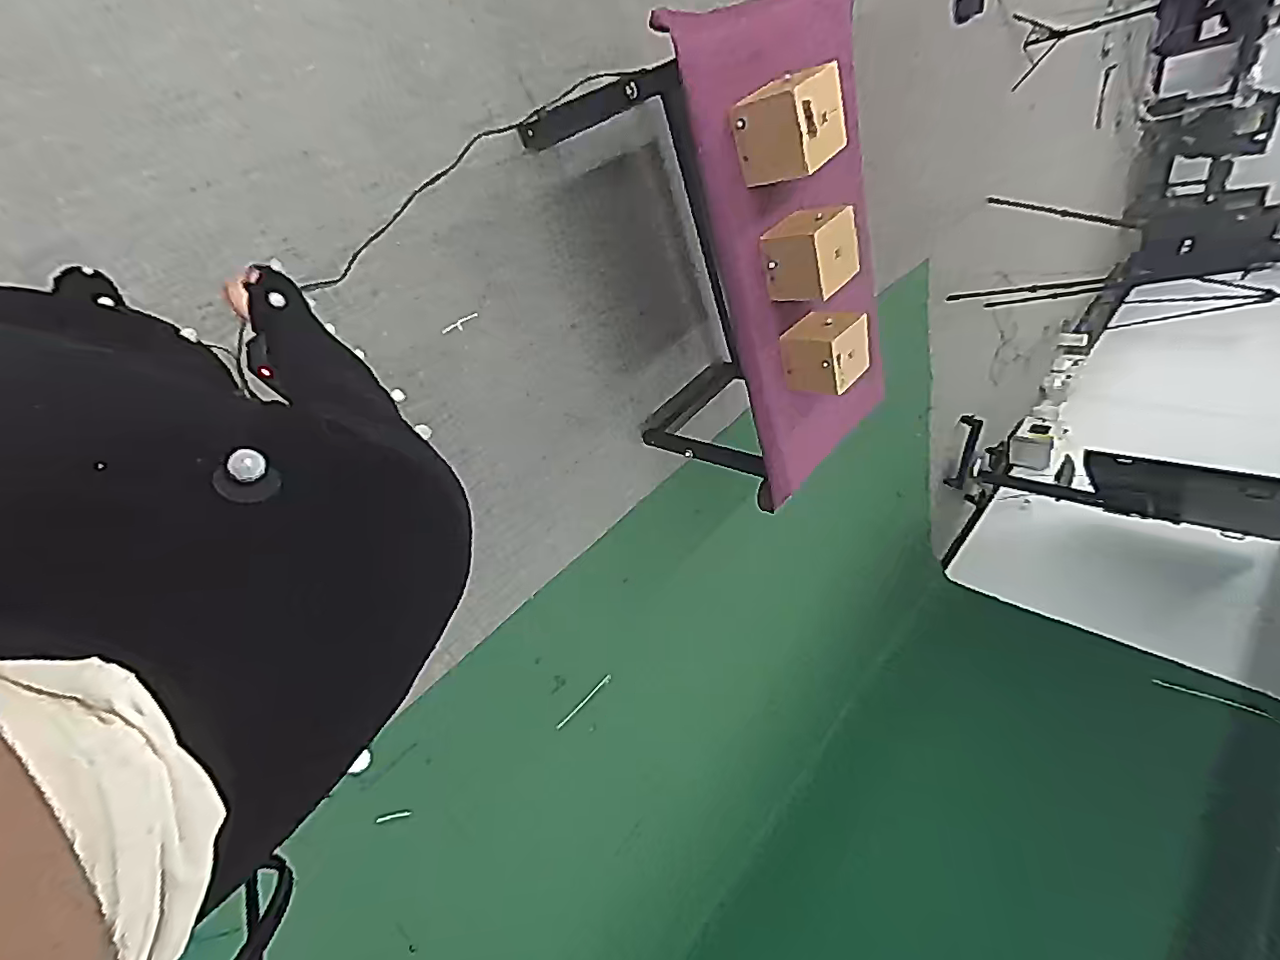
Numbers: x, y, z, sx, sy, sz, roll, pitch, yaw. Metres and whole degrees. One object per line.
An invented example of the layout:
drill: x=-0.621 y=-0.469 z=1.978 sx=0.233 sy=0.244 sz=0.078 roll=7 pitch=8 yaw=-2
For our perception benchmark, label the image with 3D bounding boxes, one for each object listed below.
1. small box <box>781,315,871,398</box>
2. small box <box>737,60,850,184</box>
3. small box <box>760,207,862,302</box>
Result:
small box: x=0.520 y=-0.351 z=1.507 sx=0.179 sy=0.176 sz=0.168 roll=-39 pitch=127 yaw=-26
small box: x=0.332 y=-0.776 z=1.187 sx=0.179 sy=0.176 sz=0.168 roll=-45 pitch=130 yaw=-24
small box: x=0.428 y=-0.562 z=1.353 sx=0.179 sy=0.176 sz=0.168 roll=-40 pitch=127 yaw=-24
